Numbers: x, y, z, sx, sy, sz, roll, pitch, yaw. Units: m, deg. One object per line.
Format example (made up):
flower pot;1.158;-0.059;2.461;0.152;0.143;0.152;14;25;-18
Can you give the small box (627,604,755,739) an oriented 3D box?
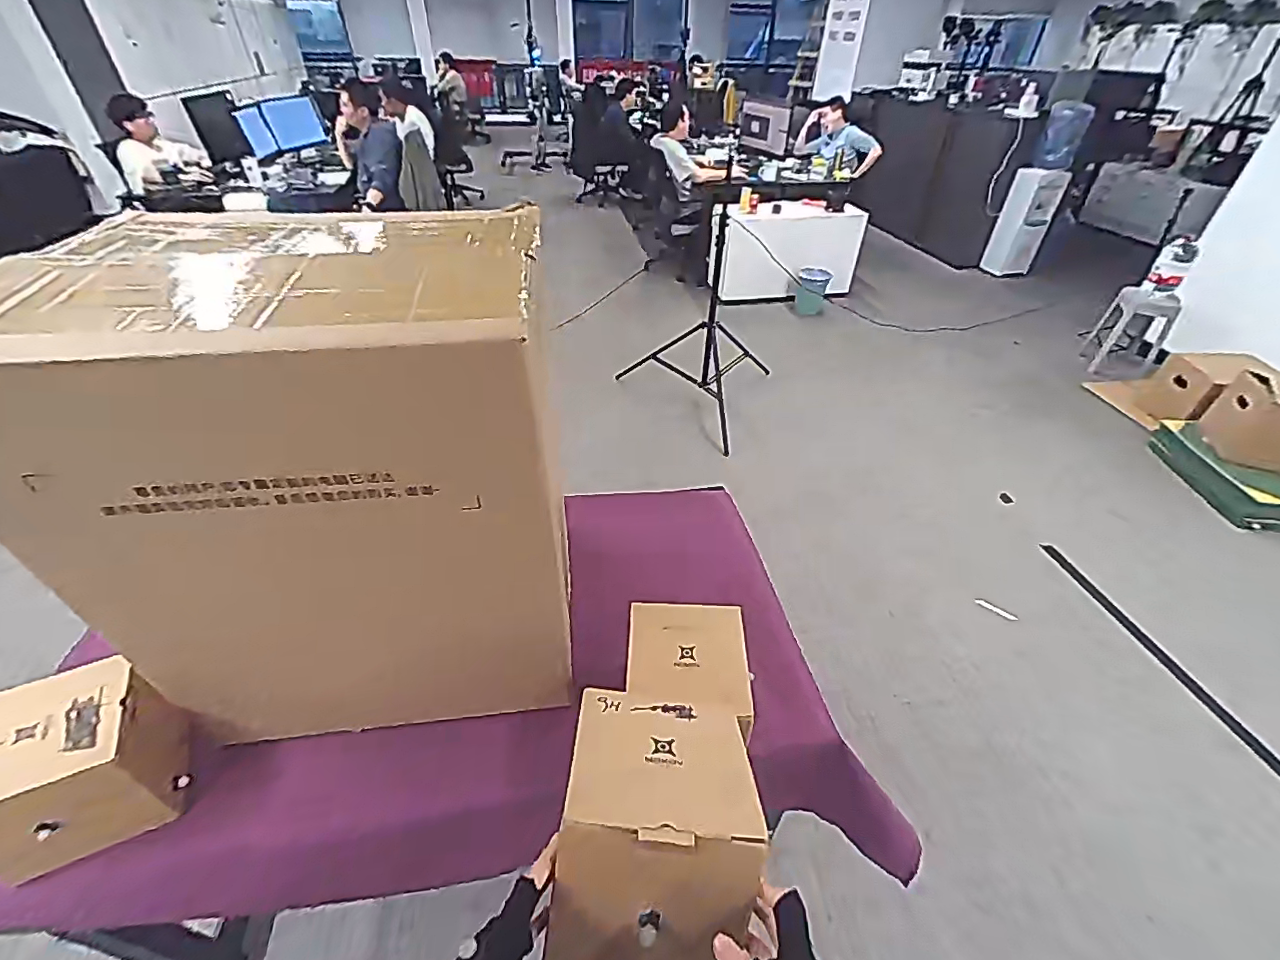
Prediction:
small box;0.066;0.306;0.793;0.168;0.176;0.179;2;37;0

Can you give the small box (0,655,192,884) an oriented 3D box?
small box;-0.715;0.365;0.692;0.179;0.176;0.168;-17;42;-24

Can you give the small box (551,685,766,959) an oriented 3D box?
small box;0.012;0.329;0.519;0.168;0.176;0.179;8;13;-1
